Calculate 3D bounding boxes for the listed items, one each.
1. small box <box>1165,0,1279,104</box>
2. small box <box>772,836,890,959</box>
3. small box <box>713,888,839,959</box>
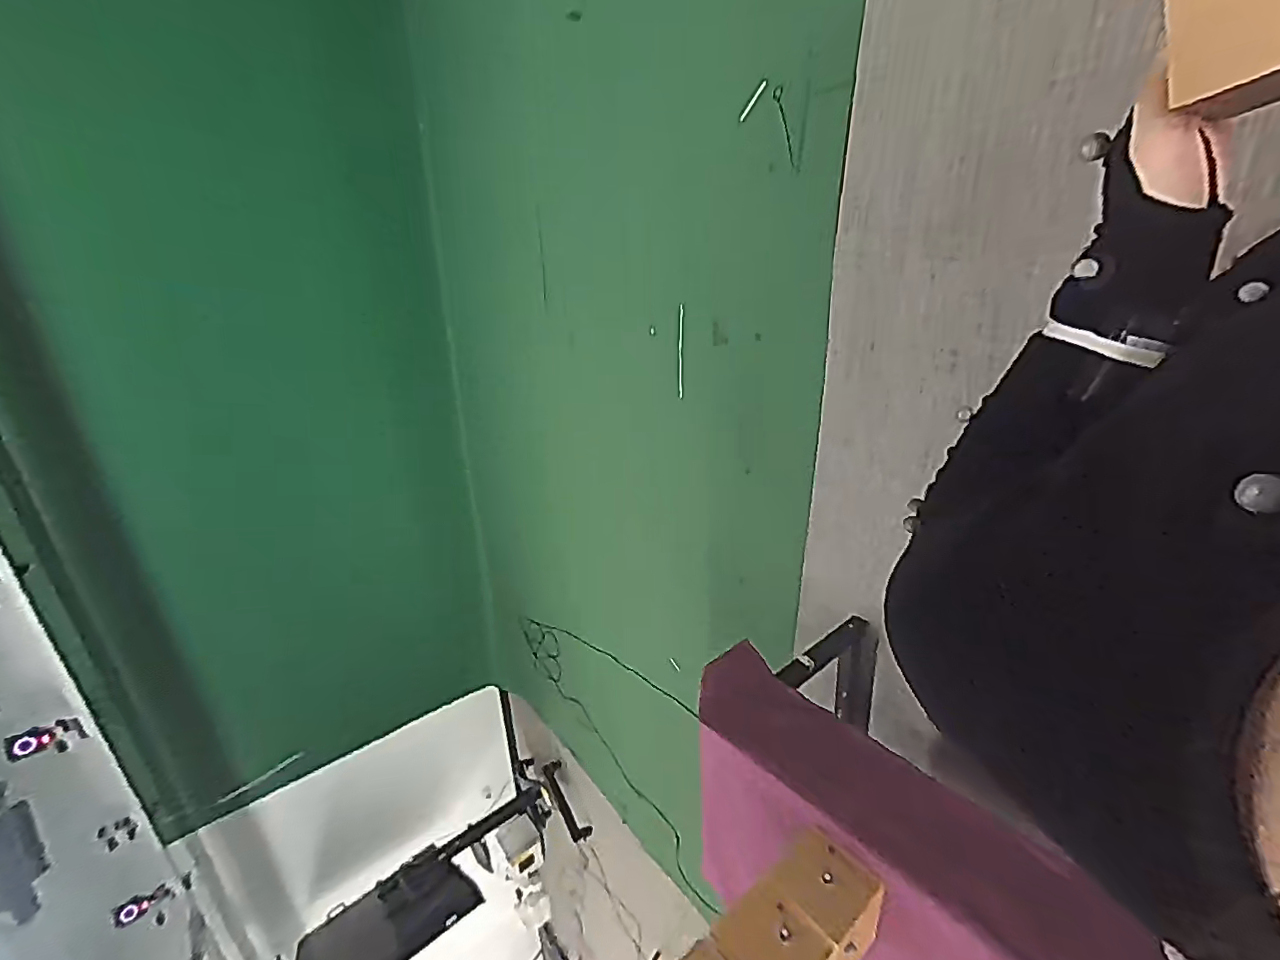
[{"bbox_3d":[0.351,-0.290,0.224,0.179,0.176,0.168,2,111,53],"label":"small box"},{"bbox_3d":[0.378,0.874,1.086,0.168,0.176,0.179,21,121,47],"label":"small box"},{"bbox_3d":[0.250,0.922,0.997,0.168,0.176,0.179,21,120,47],"label":"small box"}]
